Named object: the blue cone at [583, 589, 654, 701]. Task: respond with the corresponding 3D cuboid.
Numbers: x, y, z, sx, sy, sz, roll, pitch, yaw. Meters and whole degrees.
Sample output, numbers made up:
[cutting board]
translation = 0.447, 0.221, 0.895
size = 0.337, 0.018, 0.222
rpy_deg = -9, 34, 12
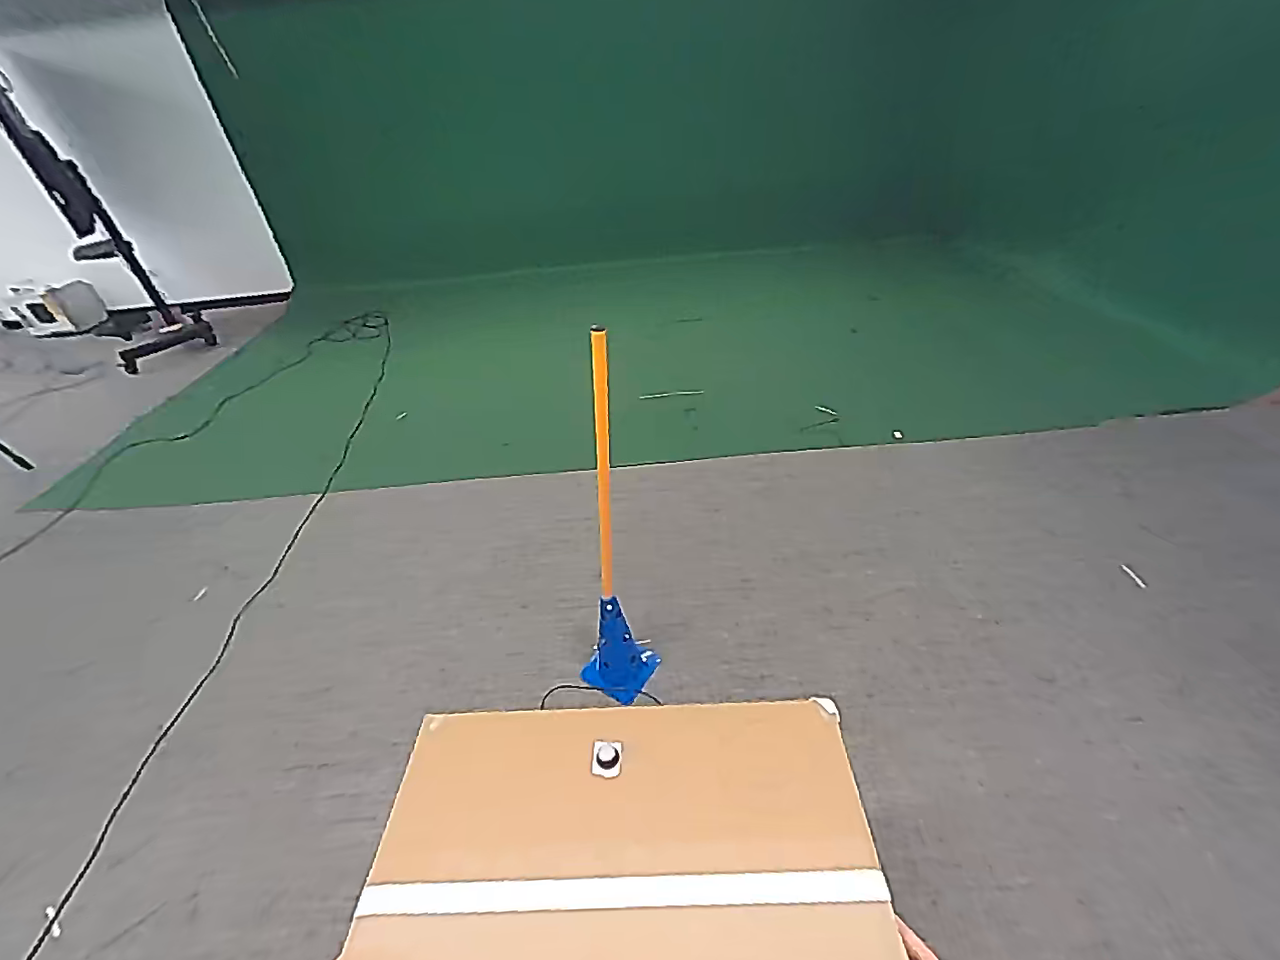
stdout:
[blue cone]
translation = -0.078, 0.462, 1.619
size = 0.192, 0.380, 0.193
rpy_deg = 18, 42, 26
